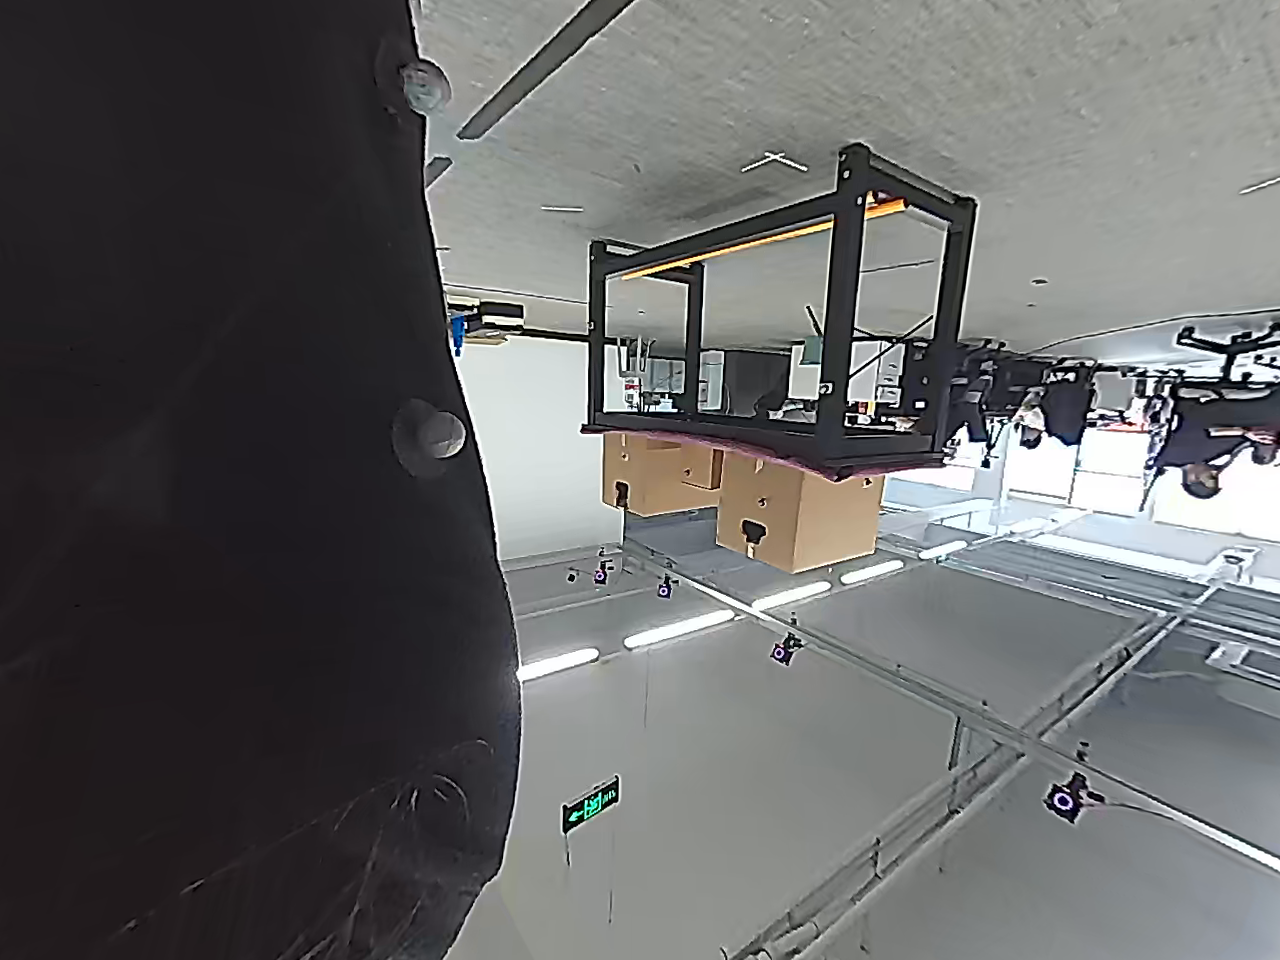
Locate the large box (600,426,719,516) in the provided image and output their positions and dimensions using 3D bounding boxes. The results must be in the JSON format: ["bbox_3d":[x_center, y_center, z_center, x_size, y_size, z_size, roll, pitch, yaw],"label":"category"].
[{"bbox_3d":[0.078,-0.053,2.240,0.408,0.320,0.320,-6,-167,-36],"label":"large box"}]
